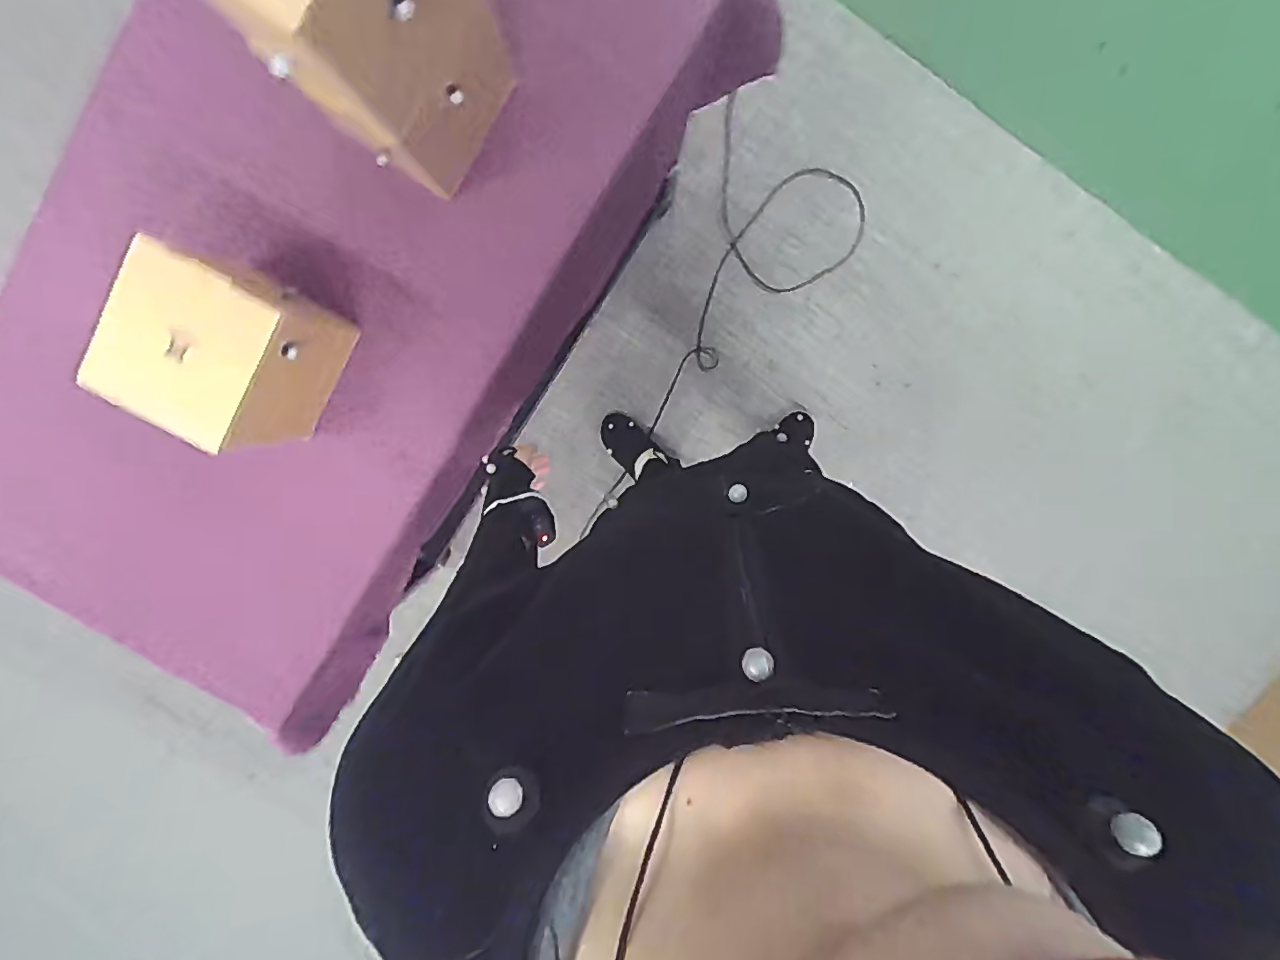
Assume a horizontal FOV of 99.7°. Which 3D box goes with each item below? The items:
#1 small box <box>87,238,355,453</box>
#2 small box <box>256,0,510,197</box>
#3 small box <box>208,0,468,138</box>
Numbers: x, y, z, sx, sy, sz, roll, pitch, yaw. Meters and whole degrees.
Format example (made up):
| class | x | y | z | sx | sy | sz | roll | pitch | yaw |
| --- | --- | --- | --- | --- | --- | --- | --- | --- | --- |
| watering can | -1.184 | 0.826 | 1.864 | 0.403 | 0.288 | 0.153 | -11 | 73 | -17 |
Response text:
| class | x | y | z | sx | sy | sz | roll | pitch | yaw |
| --- | --- | --- | --- | --- | --- | --- | --- | --- | --- |
| small box | -0.489 | -0.152 | 0.660 | 0.168 | 0.176 | 0.179 | 29 | 97 | -4 |
| small box | -0.268 | -0.462 | 0.611 | 0.168 | 0.176 | 0.179 | 33 | 97 | -5 |
| small box | -0.265 | -0.440 | 0.448 | 0.168 | 0.176 | 0.179 | 33 | 98 | -5 |
